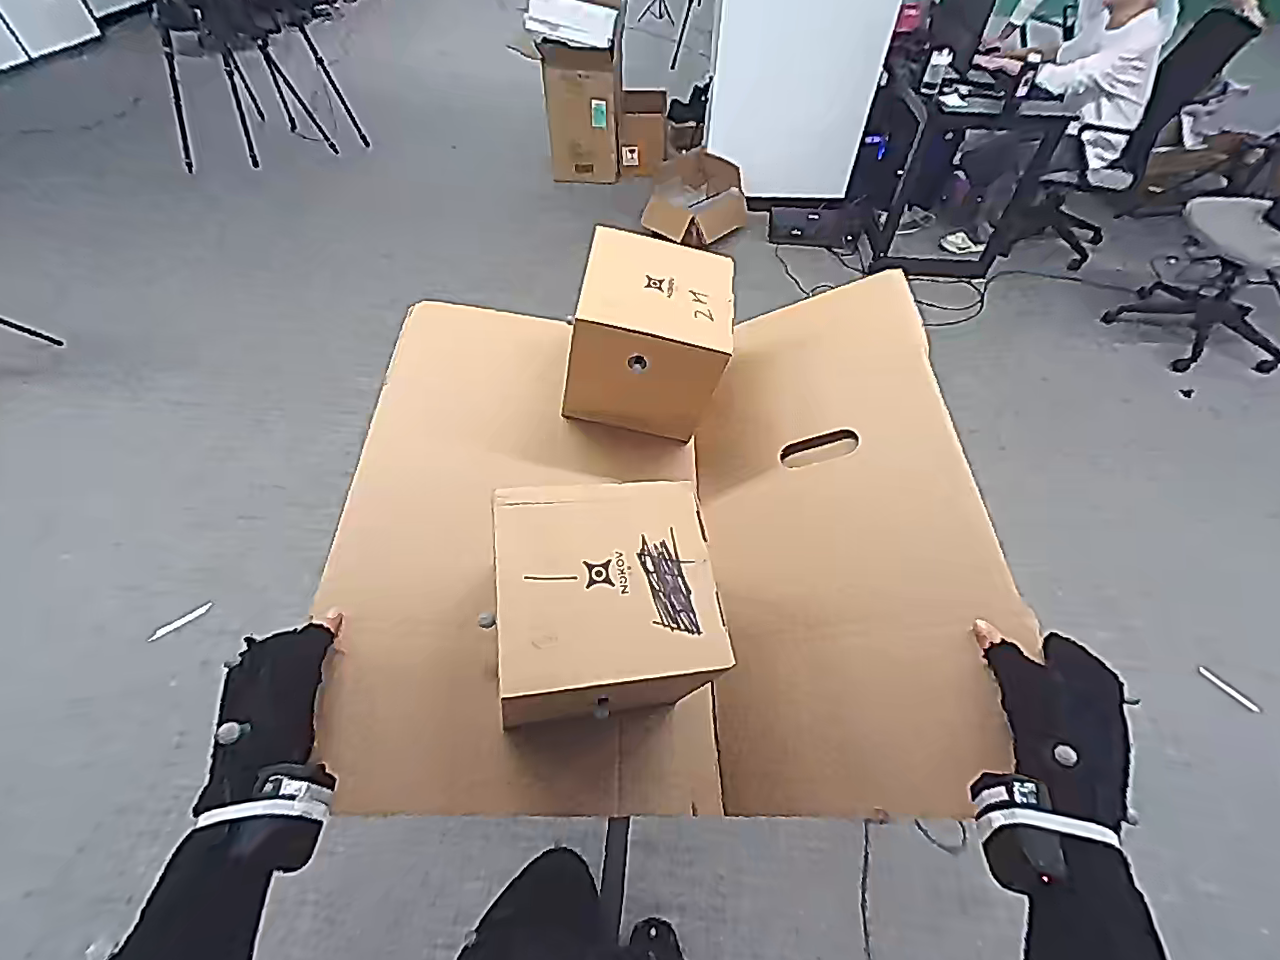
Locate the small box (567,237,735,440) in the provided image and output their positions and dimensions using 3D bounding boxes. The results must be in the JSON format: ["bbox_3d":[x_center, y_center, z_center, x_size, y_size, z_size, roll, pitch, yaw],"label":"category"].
[{"bbox_3d":[0.010,-0.172,0.694,0.179,0.176,0.168,12,58,-7],"label":"small box"}]

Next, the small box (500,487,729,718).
[{"bbox_3d":[-0.040,0.118,0.507,0.179,0.176,0.168,-2,60,-14],"label":"small box"}]
